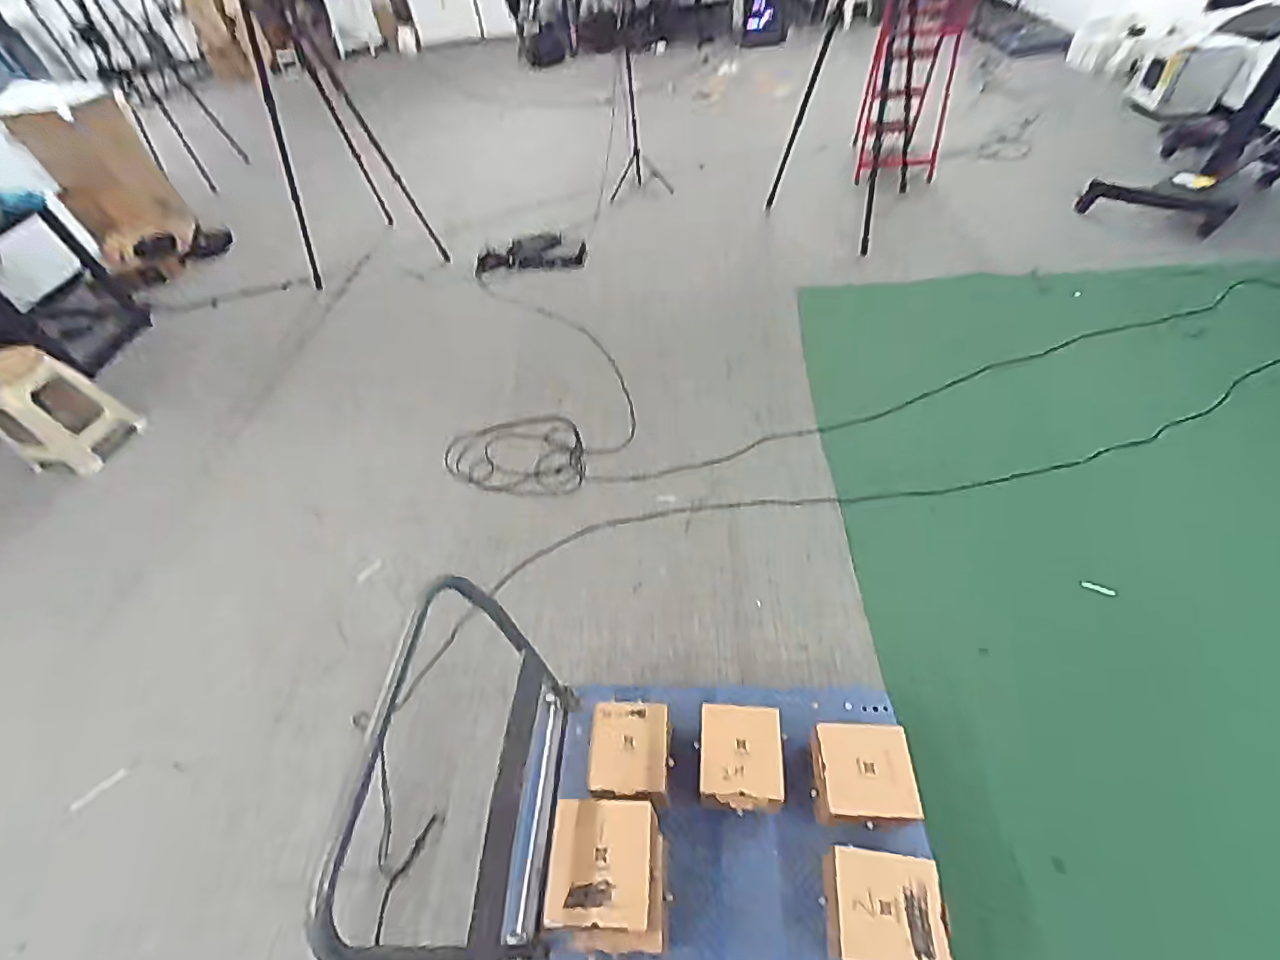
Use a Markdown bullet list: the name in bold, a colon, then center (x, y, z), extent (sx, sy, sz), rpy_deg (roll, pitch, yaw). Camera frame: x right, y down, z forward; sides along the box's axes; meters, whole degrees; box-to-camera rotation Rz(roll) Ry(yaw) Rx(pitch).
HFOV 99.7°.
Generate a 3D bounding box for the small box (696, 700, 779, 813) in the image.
- **small box**: center (0.210, 0.605, 1.181), extent (0.168, 0.176, 0.179), rpy_deg (1, 50, 9)

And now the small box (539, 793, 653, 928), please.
- **small box**: center (-0.065, 0.668, 0.946), extent (0.168, 0.176, 0.179), rpy_deg (-1, 49, 6)

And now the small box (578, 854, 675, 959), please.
- **small box**: center (-0.048, 0.797, 1.061), extent (0.179, 0.176, 0.168), rpy_deg (23, 57, 26)

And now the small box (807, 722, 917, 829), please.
- **small box**: center (0.451, 0.622, 1.135), extent (0.179, 0.176, 0.168), rpy_deg (0, 50, 7)
